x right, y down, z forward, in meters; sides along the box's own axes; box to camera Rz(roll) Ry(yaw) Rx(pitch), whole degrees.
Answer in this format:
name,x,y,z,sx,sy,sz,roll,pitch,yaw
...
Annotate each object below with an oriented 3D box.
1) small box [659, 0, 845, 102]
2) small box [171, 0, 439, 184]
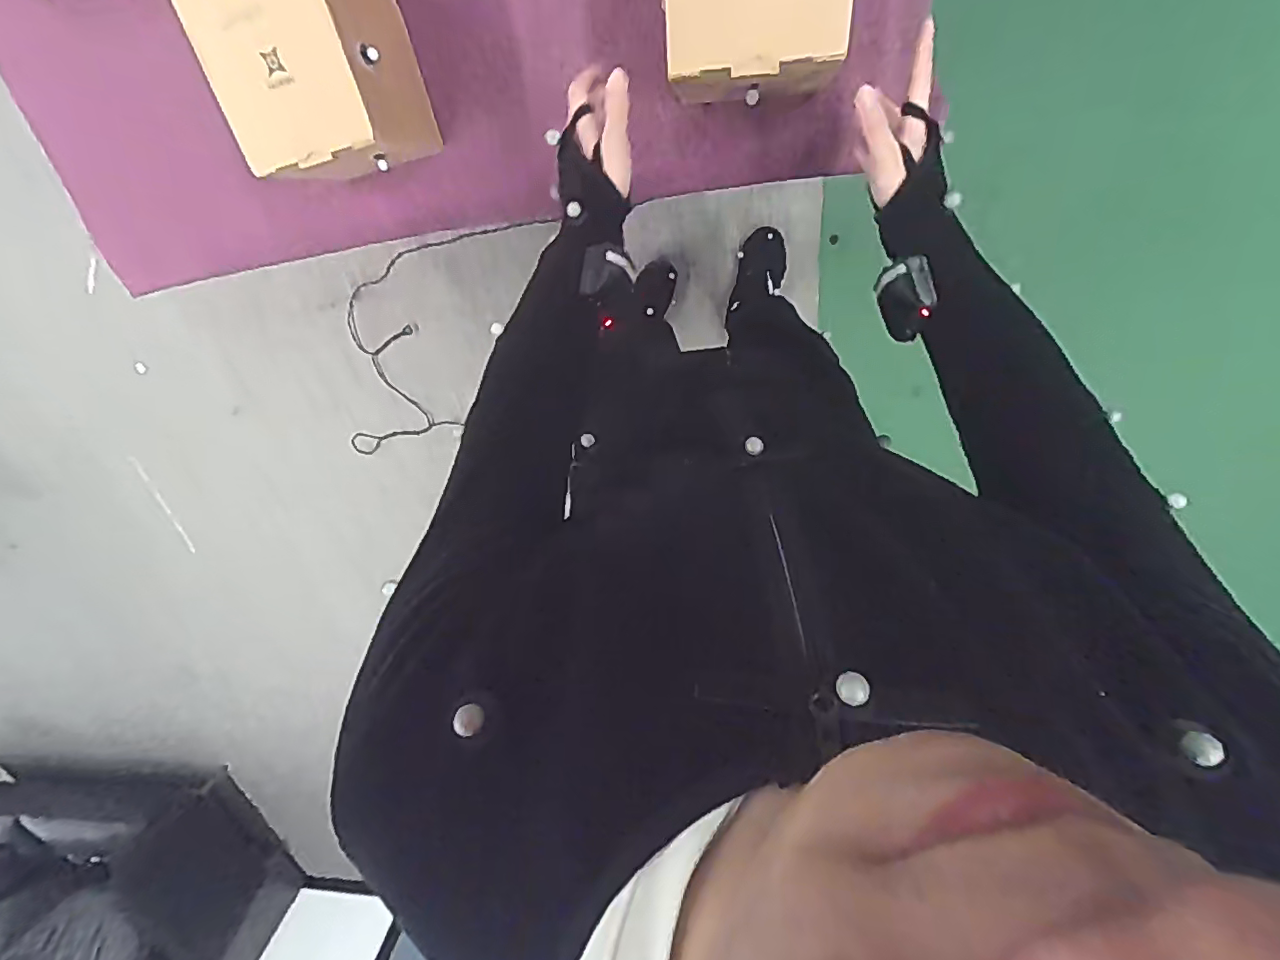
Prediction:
name,x,y,z,sx,sy,sz,roll,pitch,yaw
small box,0.110,-0.488,0.532,0.168,0.176,0.179,1,118,10
small box,-0.368,-0.463,0.636,0.168,0.176,0.179,-7,117,13
